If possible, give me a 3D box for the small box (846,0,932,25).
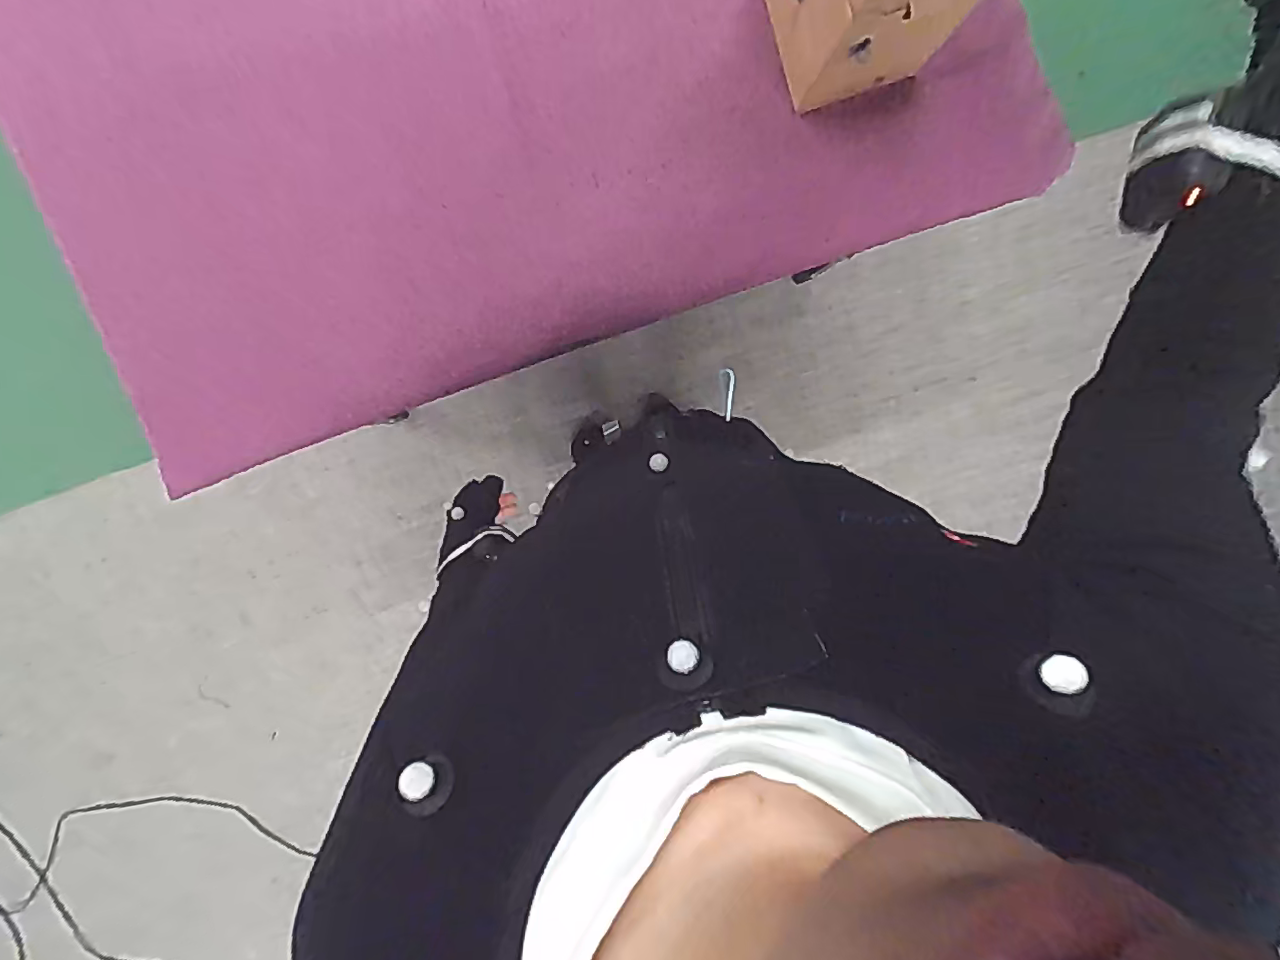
[{"bbox_3d":[0.257,-0.542,0.443,0.168,0.176,0.179,-22,98,0],"label":"small box"}]
